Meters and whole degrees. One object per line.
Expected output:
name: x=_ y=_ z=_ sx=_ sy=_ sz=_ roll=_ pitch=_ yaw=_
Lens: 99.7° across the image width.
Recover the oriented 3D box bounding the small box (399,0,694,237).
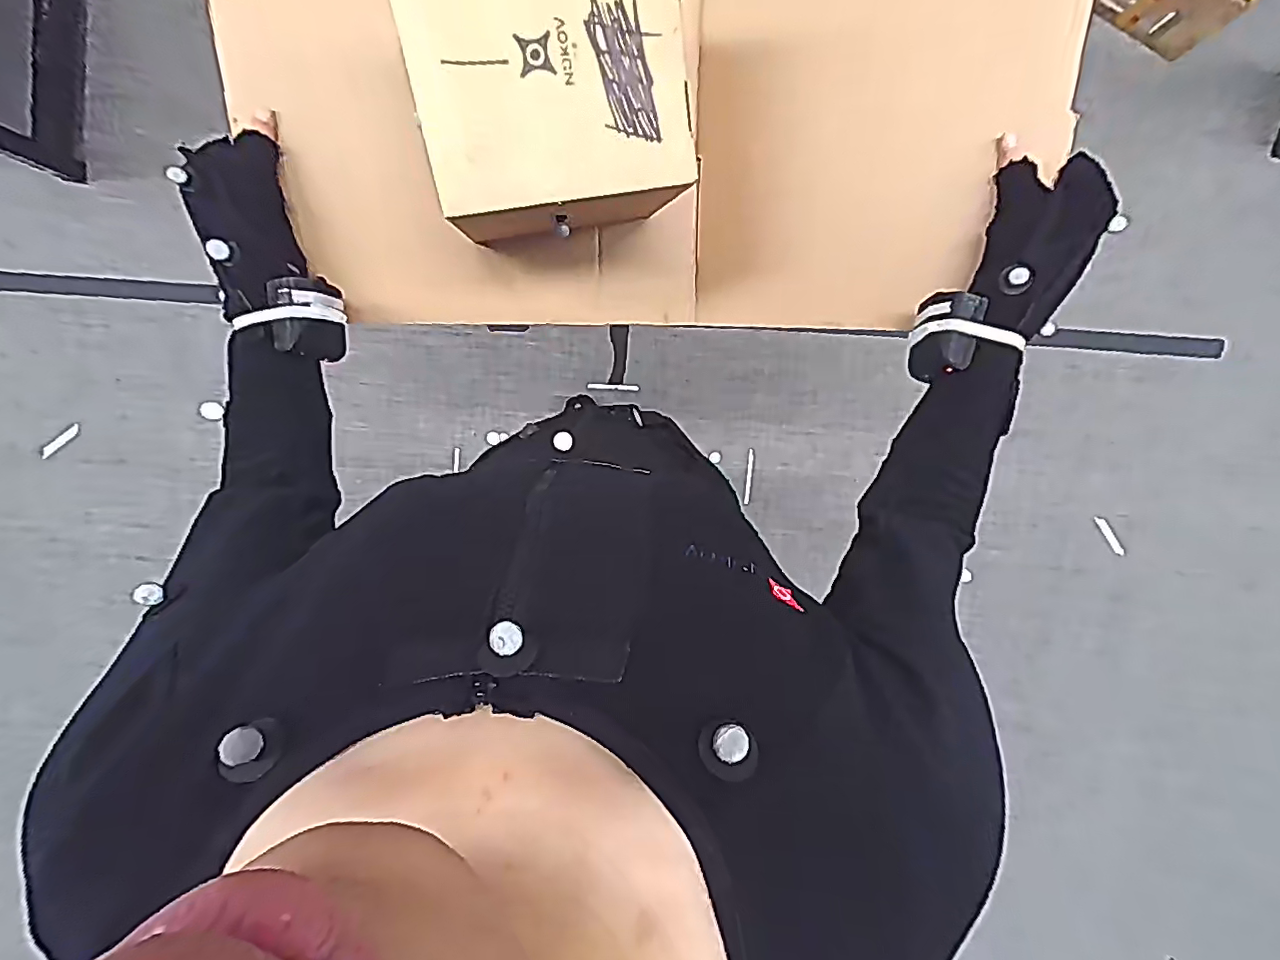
small box: x=-0.069 y=-0.294 z=0.421 sx=0.179 sy=0.176 sz=0.168 roll=-11 pitch=110 yaw=-6
